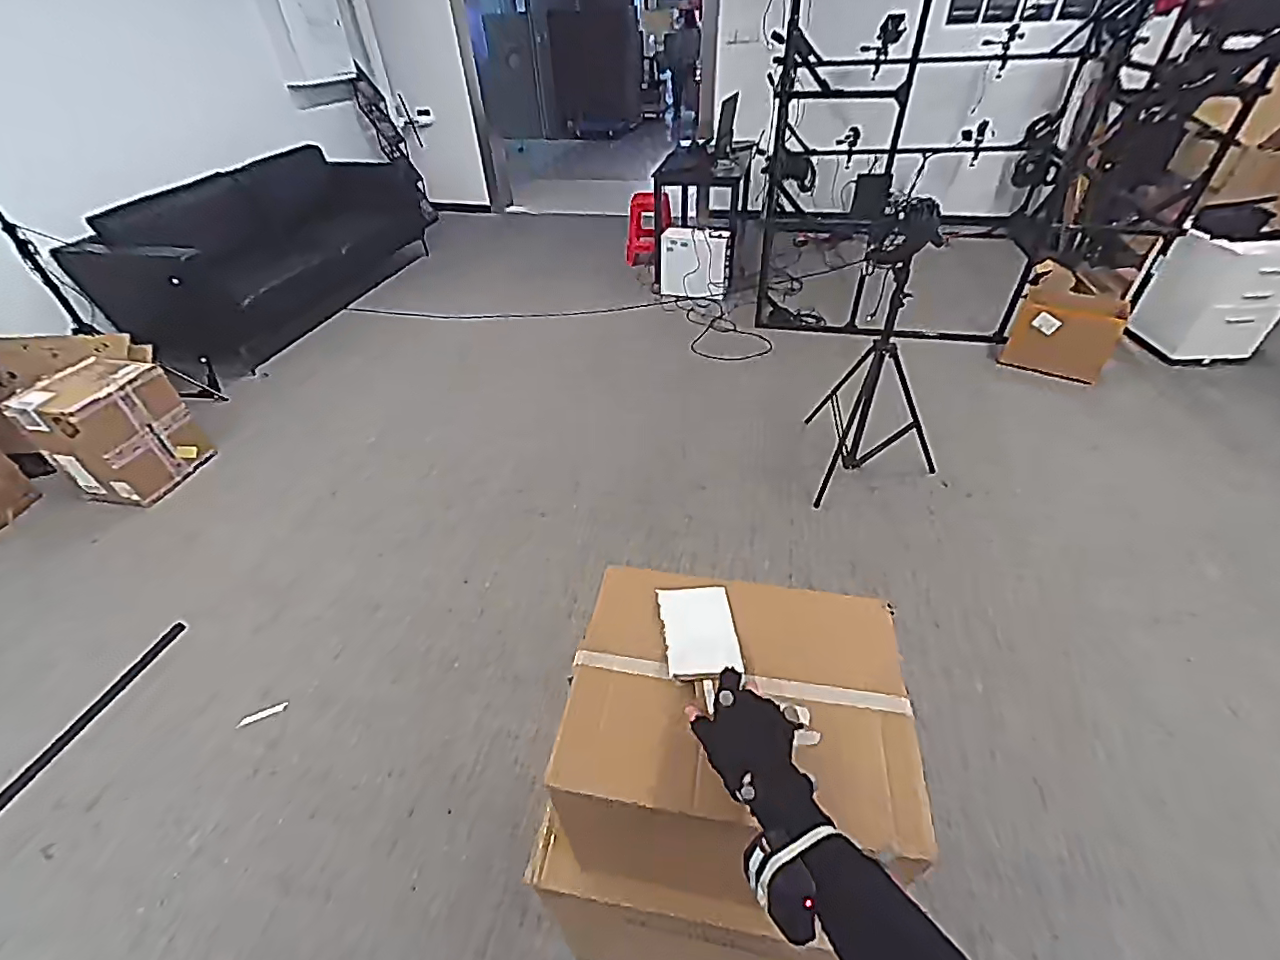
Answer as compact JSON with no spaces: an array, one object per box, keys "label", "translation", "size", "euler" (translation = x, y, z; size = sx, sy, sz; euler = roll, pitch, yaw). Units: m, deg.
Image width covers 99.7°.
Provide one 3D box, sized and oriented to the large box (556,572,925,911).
[{"label":"large box","translation":[0.125,0.368,0.786],"size":[0.408,0.320,0.320],"euler":[6,42,8]}]
